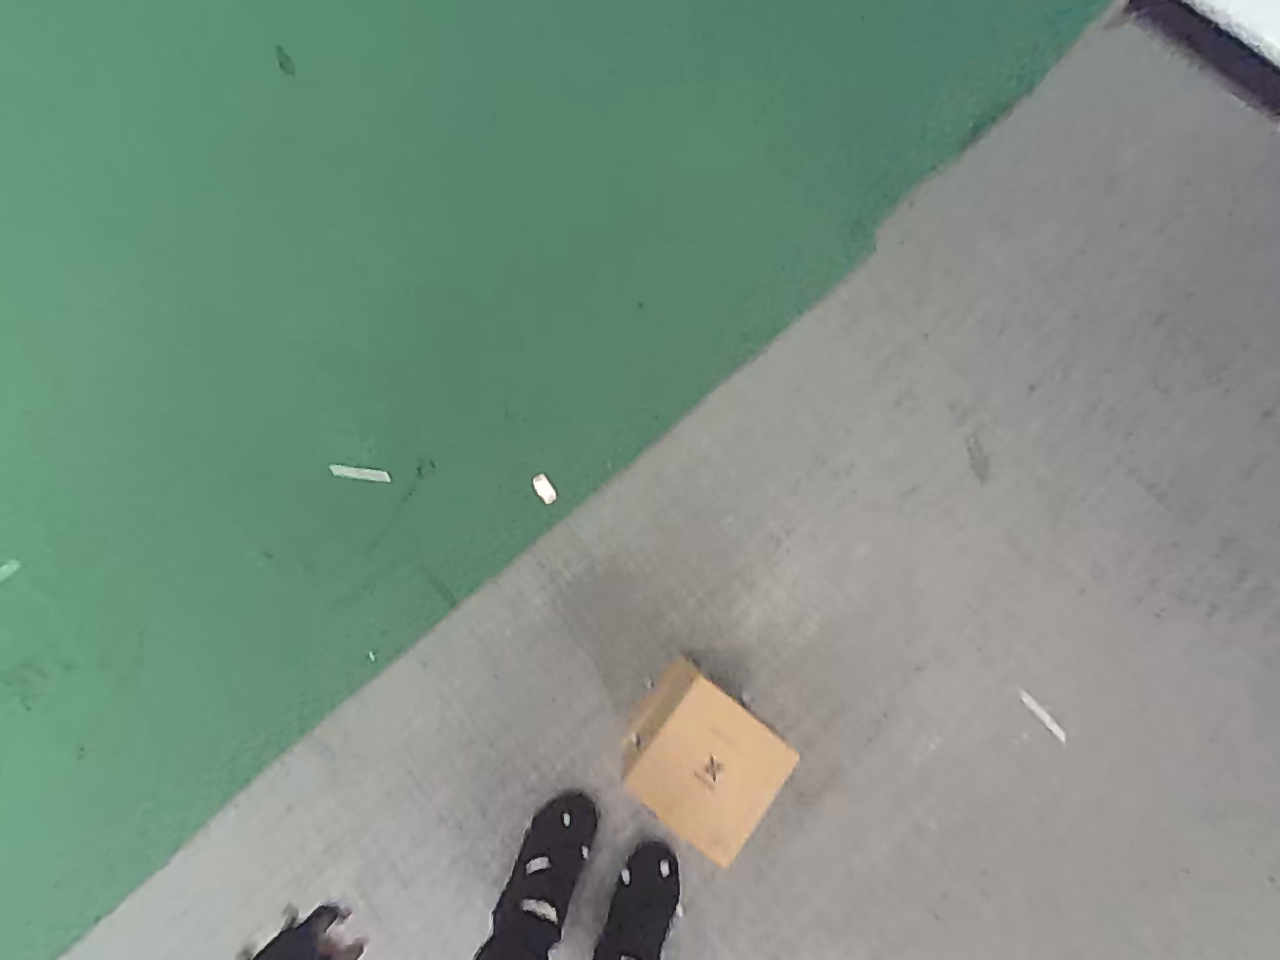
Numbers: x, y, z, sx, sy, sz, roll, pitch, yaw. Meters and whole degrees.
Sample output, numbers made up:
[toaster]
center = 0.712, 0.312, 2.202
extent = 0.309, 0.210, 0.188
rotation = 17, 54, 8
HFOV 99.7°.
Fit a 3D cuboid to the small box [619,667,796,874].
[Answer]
[small box]
center = 0.089, 0.396, 0.775
extent = 0.168, 0.176, 0.179
rotation = 38, 80, 7
